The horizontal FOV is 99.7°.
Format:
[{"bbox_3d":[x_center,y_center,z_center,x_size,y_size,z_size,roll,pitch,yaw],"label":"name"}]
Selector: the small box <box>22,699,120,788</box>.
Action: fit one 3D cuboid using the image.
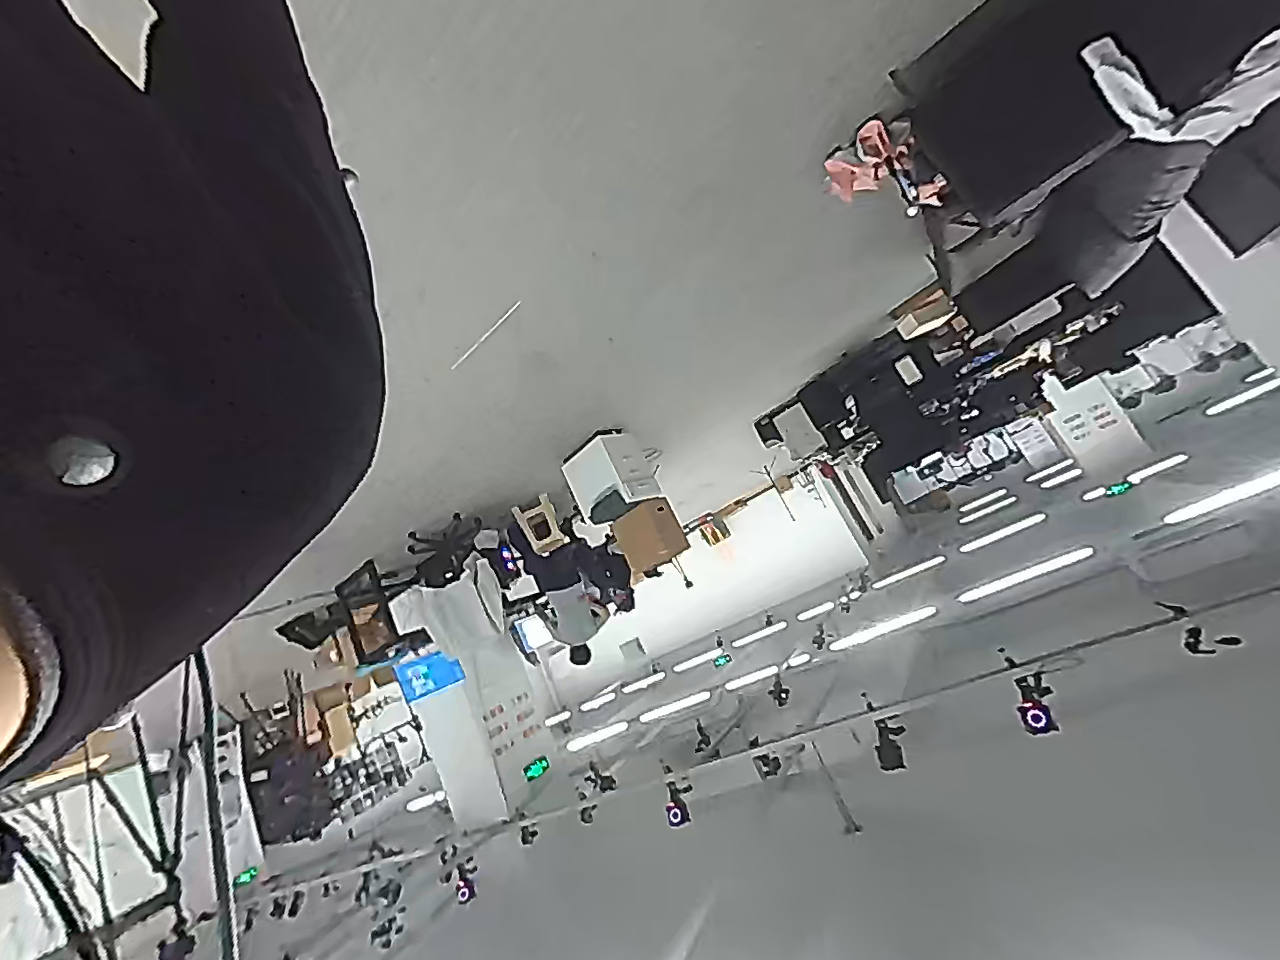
[{"bbox_3d":[-1.669,0.763,1.583,0.179,0.176,0.168,-32,166,31],"label":"small box"}]
